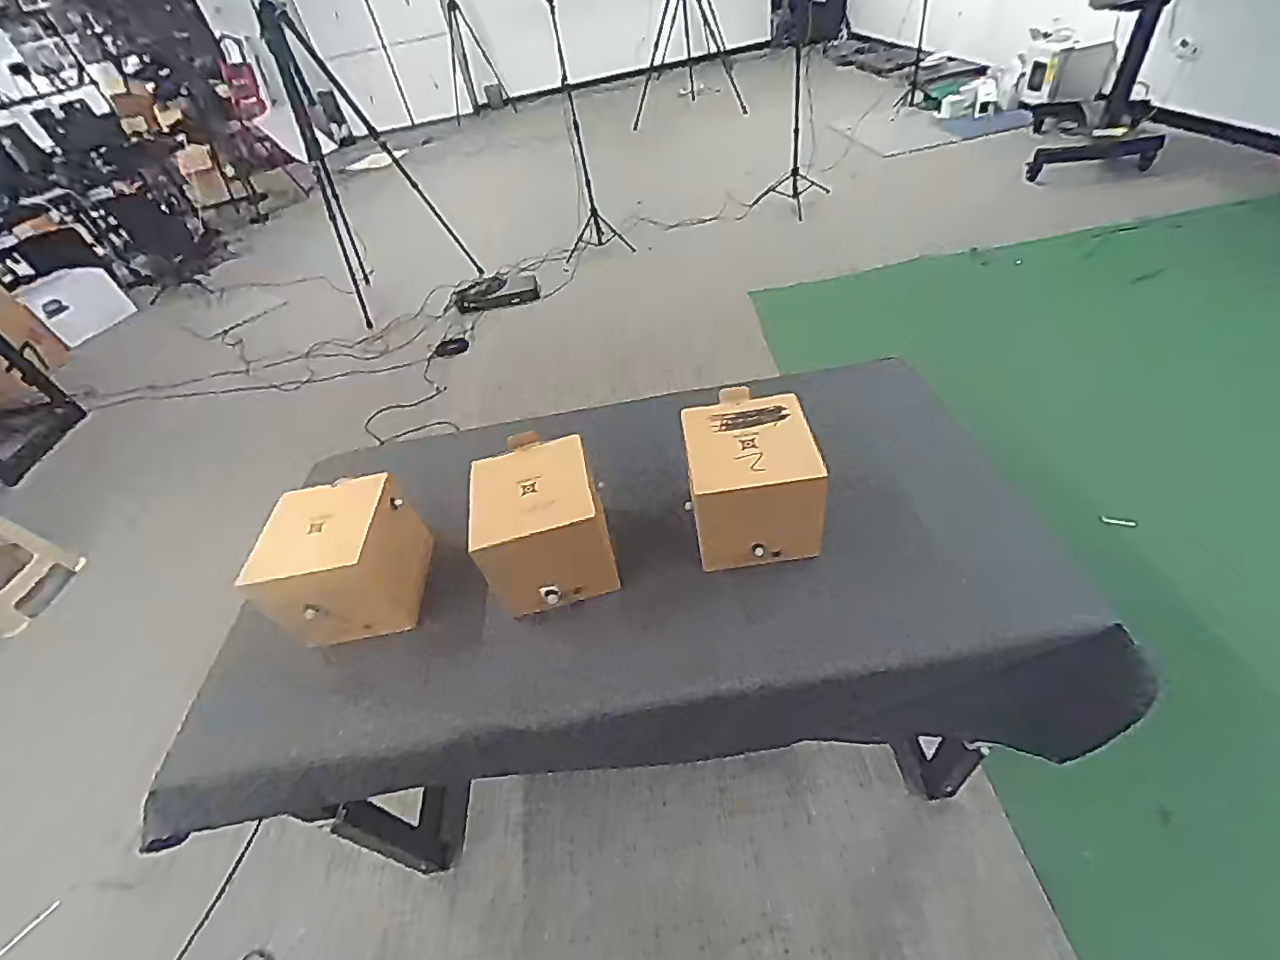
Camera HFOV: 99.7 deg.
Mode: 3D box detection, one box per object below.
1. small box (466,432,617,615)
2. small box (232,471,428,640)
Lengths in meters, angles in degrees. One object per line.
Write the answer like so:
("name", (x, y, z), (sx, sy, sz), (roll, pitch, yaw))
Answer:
("small box", (-0.140, 0.064, 0.782), (0.168, 0.176, 0.179), (-17, 44, -2))
("small box", (-0.434, 0.117, 0.794), (0.168, 0.176, 0.179), (-11, 43, 1))
